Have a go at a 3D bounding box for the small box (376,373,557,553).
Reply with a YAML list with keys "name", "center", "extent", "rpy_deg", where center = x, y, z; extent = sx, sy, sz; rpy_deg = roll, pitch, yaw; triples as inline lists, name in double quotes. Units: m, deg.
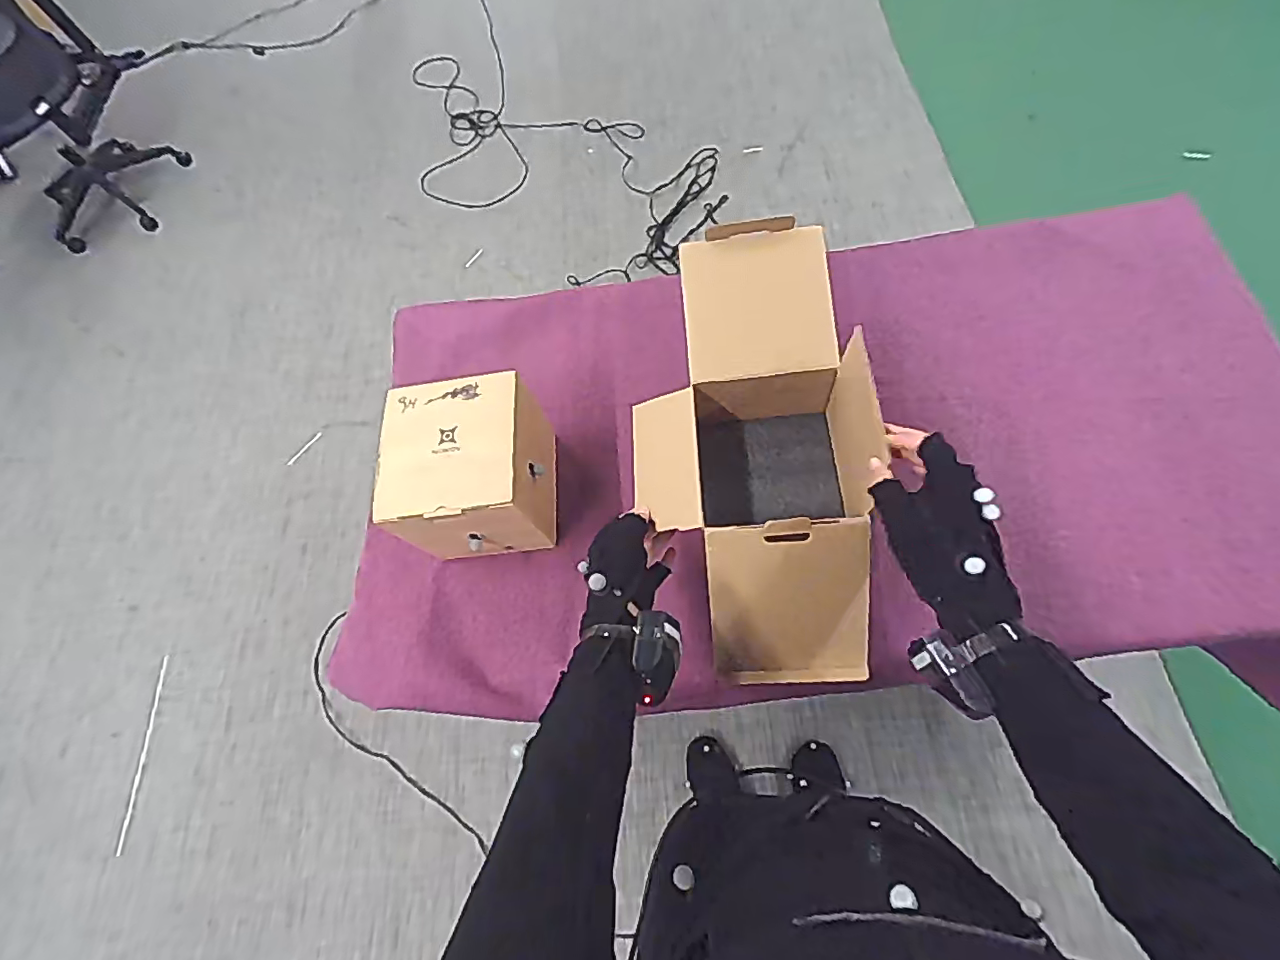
- name: "small box"
  center: [-0.208, -0.009, 0.696]
  extent: [0.168, 0.176, 0.179]
  rpy_deg: [-7, 67, 6]
